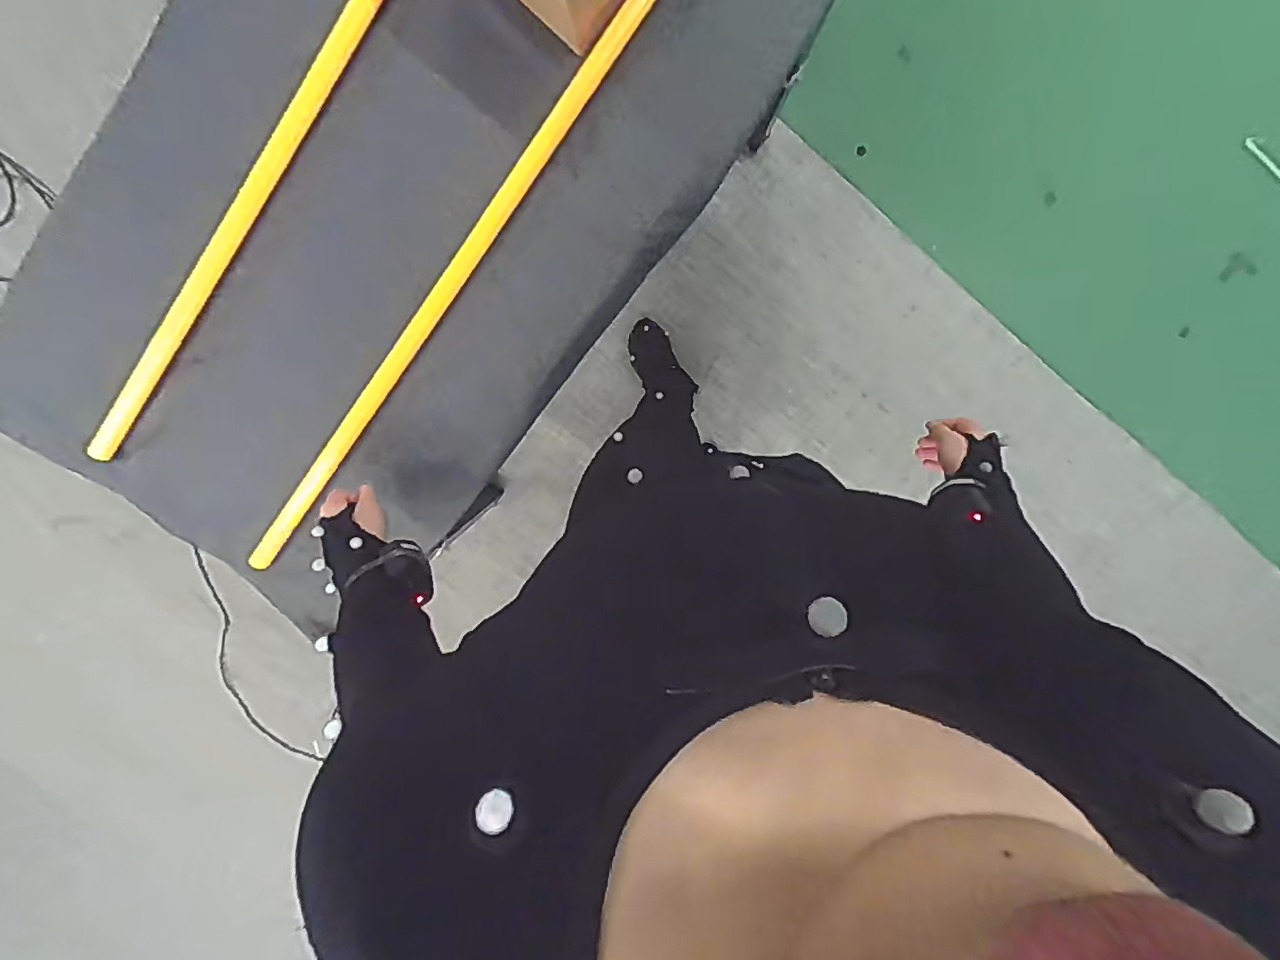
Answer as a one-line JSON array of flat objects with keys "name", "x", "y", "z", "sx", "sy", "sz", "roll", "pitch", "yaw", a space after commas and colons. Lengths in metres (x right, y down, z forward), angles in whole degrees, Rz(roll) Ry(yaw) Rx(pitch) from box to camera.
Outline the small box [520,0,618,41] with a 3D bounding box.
[{"name": "small box", "x": -0.080, "y": -0.591, "z": 0.532, "sx": 0.179, "sy": 0.176, "sz": 0.168, "roll": 40, "pitch": 99, "yaw": -6}]
